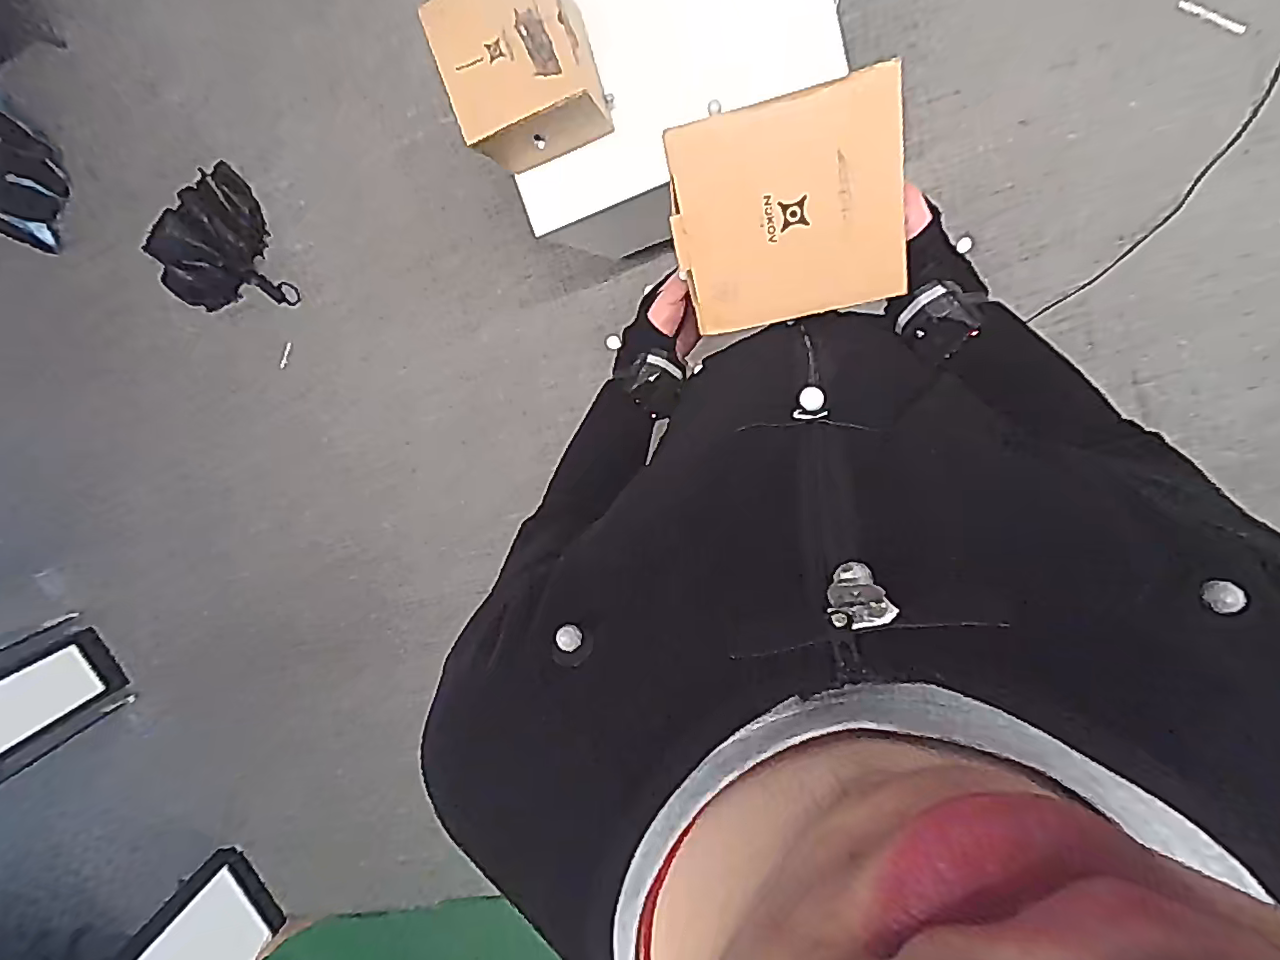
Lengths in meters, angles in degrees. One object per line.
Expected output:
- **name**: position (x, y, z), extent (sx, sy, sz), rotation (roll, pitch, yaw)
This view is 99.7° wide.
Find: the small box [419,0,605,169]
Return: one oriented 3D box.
- **small box**: position (-0.158, -0.560, 0.744), extent (0.179, 0.176, 0.168), rotation (-14, 104, 16)
